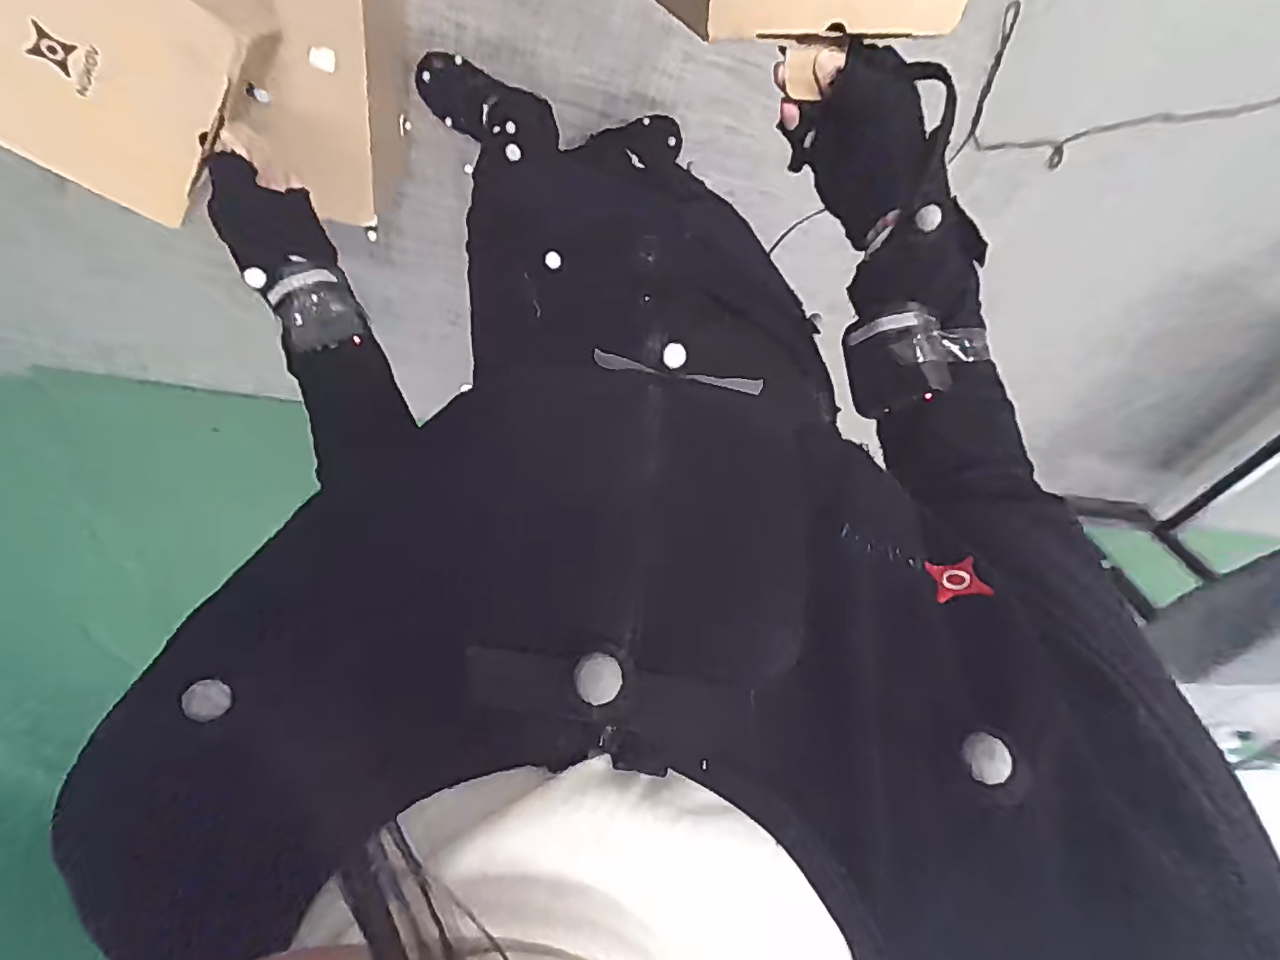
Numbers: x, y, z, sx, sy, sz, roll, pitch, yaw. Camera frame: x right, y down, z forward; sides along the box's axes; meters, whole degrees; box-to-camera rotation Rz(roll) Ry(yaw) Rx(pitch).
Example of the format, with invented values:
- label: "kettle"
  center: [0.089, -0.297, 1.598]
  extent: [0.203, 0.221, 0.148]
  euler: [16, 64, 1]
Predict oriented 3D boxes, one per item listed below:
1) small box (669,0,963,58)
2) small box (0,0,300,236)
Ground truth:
- label: "small box"
  center: [0.107, -0.386, 0.327]
  extent: [0.168, 0.176, 0.179]
  euler: [-8, 141, -9]
- label: "small box"
  center: [-0.410, -0.345, 0.443]
  extent: [0.179, 0.176, 0.168]
  euler: [26, 117, -36]
